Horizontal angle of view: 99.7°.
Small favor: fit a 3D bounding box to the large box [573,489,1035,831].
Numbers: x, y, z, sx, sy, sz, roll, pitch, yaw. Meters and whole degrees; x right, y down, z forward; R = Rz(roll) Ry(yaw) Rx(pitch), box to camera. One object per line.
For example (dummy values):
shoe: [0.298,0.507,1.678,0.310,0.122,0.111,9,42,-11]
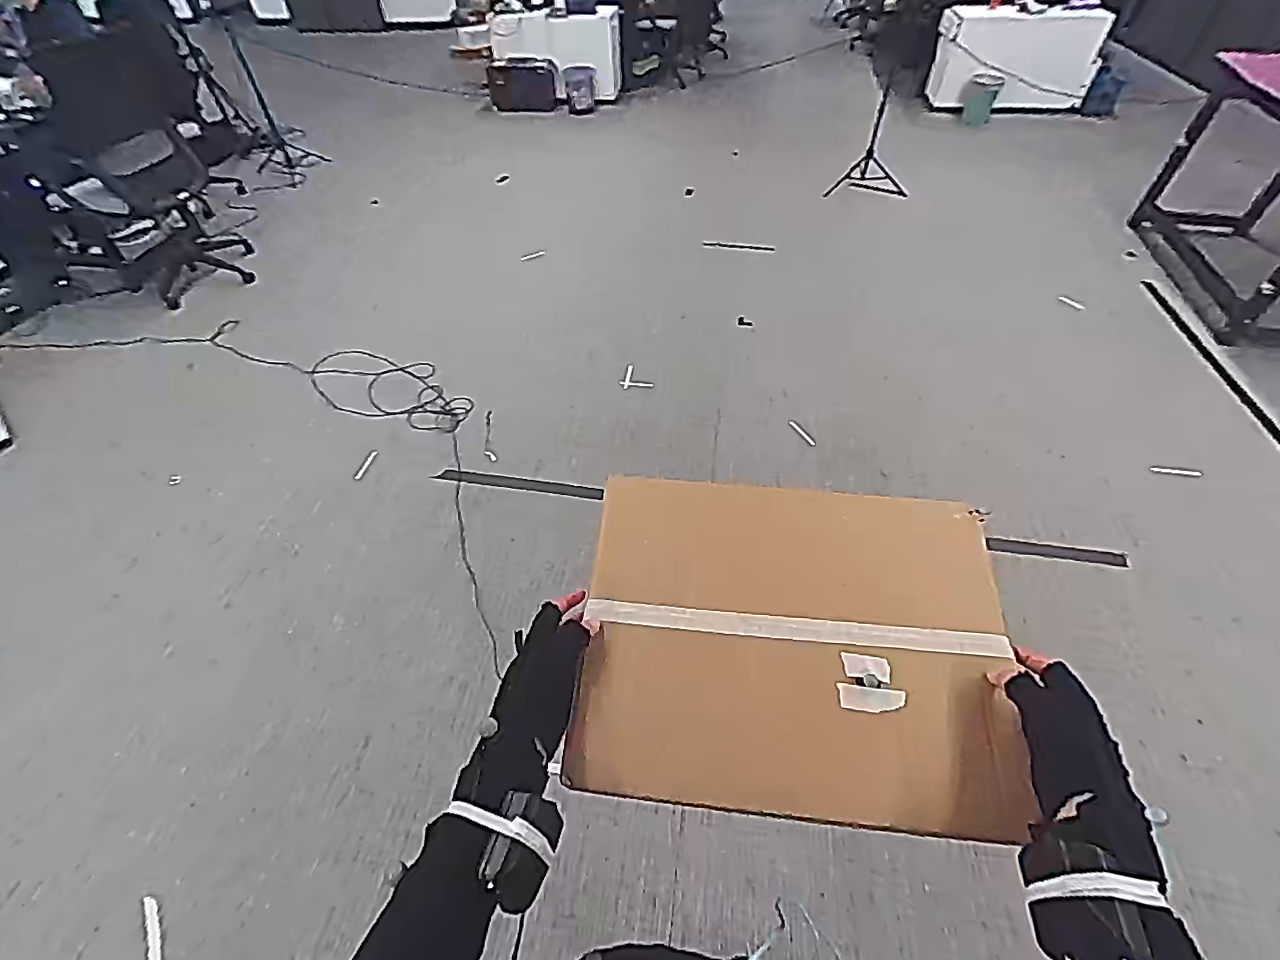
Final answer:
large box: [0.151,0.228,0.668,0.408,0.320,0.320,4,60,4]
